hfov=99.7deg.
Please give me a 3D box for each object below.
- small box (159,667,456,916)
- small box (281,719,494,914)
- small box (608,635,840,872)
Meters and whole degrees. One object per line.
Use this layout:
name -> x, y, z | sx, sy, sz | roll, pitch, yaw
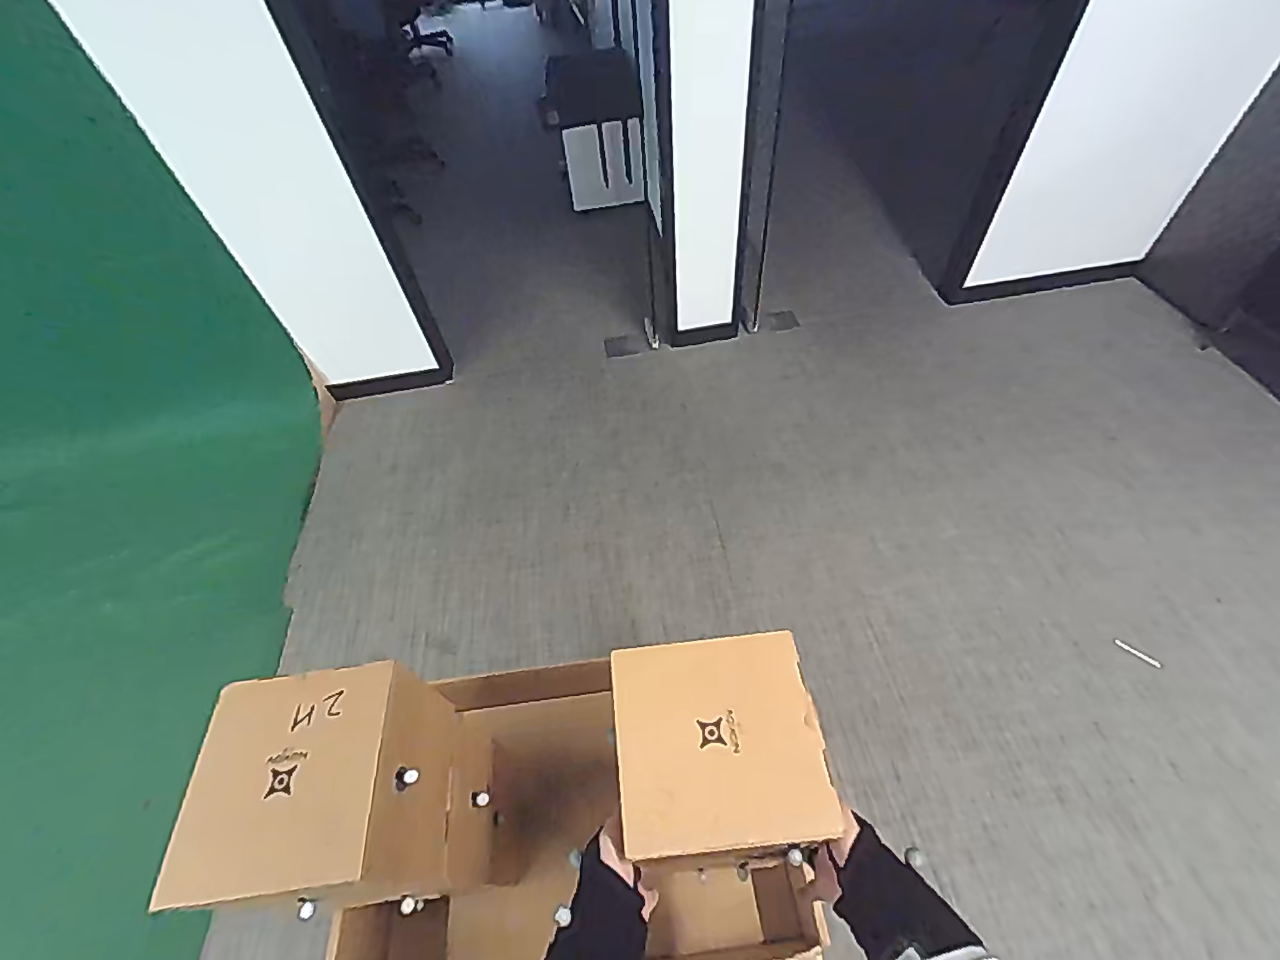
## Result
small box -> -0.295, 0.306, 0.532 | 0.168, 0.176, 0.179 | -8, 51, 0
small box -> -0.285, 0.411, 0.660 | 0.179, 0.176, 0.168 | -9, 51, -2
small box -> 0.068, 0.269, 0.526 | 0.179, 0.176, 0.168 | -6, 52, -1
